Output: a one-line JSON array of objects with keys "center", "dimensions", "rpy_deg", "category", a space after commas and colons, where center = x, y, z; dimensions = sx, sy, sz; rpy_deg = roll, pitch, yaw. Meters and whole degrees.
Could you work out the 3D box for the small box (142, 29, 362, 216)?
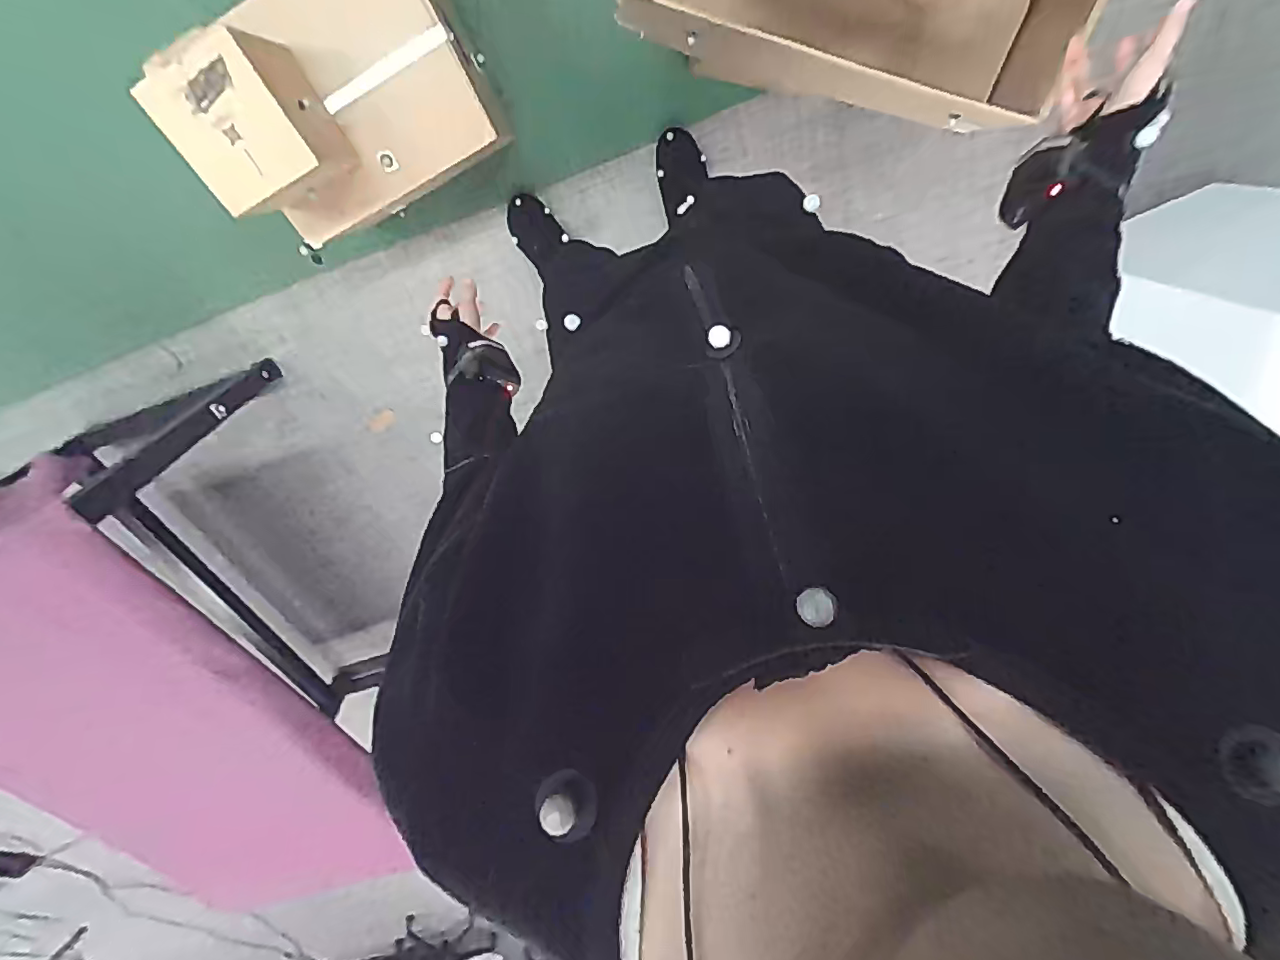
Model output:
[{"center": [-0.572, -0.533, 0.826], "dimensions": [0.168, 0.176, 0.179], "rpy_deg": [-24, 121, 10], "category": "small box"}]
